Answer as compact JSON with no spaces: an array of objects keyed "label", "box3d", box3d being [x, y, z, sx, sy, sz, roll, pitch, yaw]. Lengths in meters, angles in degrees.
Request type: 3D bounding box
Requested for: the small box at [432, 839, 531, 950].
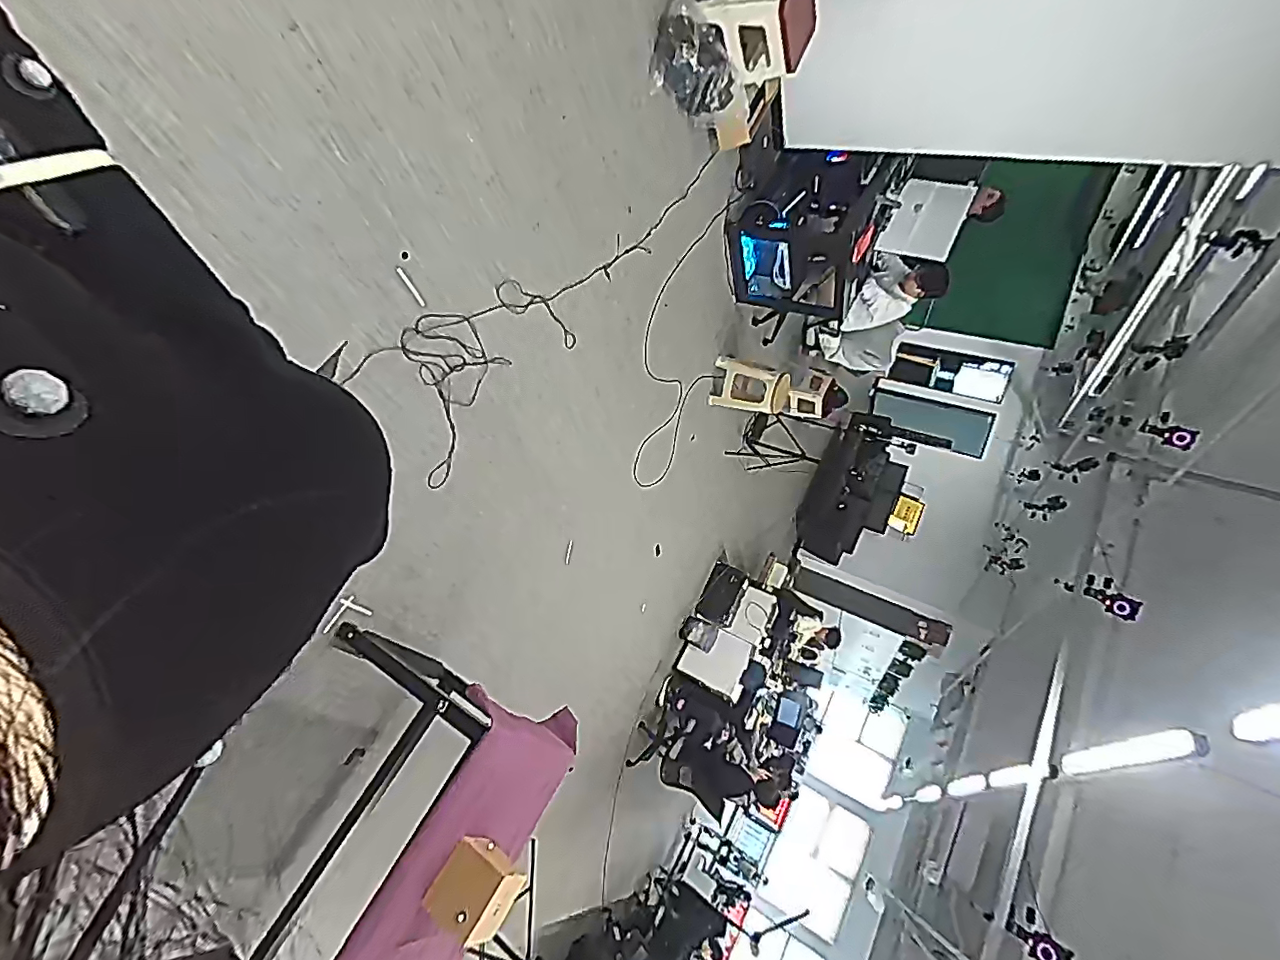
[{"label":"small box","box3d":[-0.438,1.127,1.481,0.179,0.176,0.168,-57,151,-24]}]
